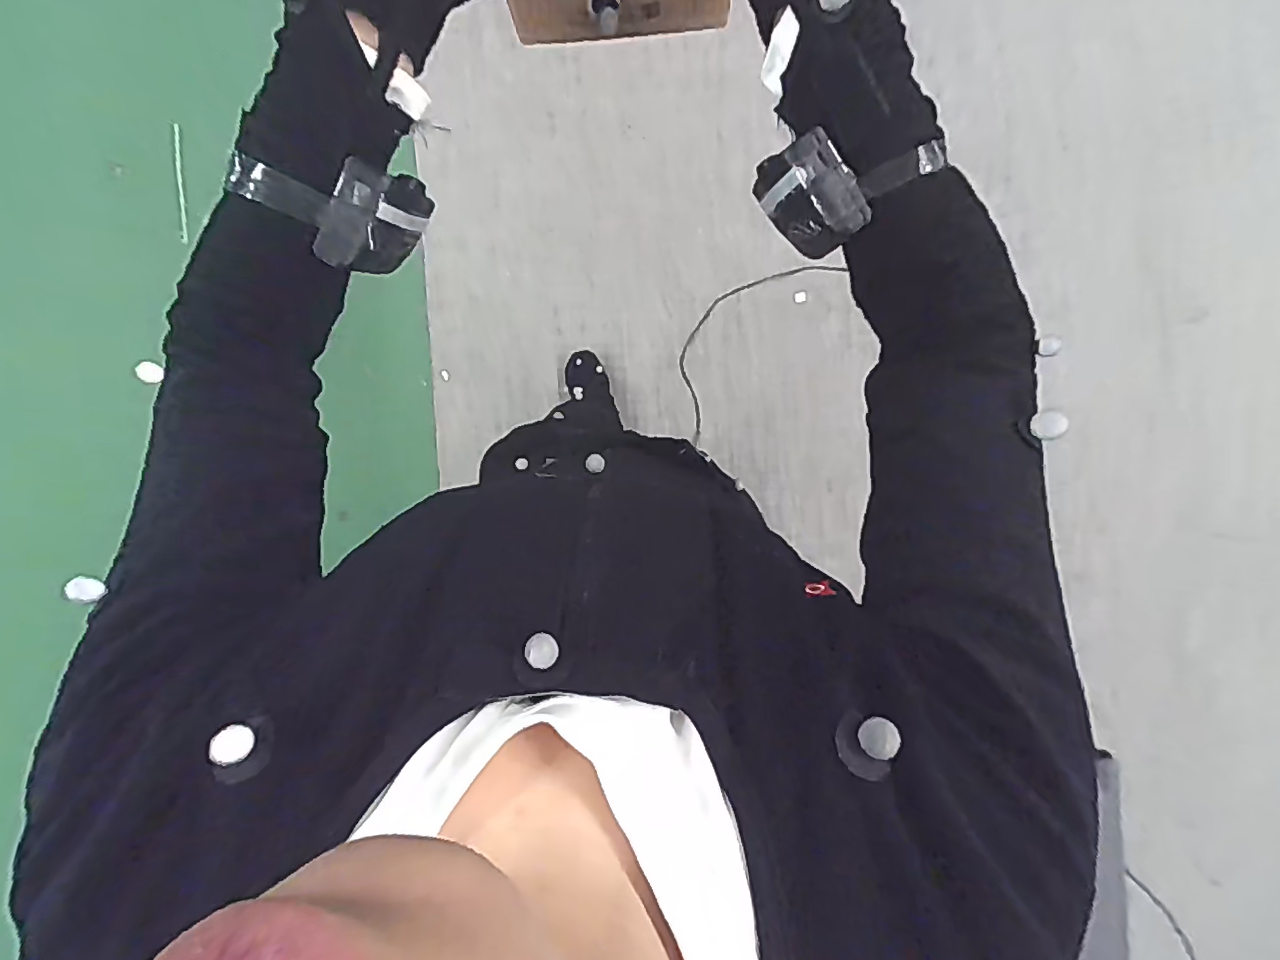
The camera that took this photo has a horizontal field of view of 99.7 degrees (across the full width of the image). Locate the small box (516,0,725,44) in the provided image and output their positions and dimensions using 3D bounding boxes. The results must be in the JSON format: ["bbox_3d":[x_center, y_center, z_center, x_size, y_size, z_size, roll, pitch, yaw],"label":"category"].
[{"bbox_3d":[-0.022,-0.438,0.350,0.168,0.176,0.179,-4,92,3],"label":"small box"}]
